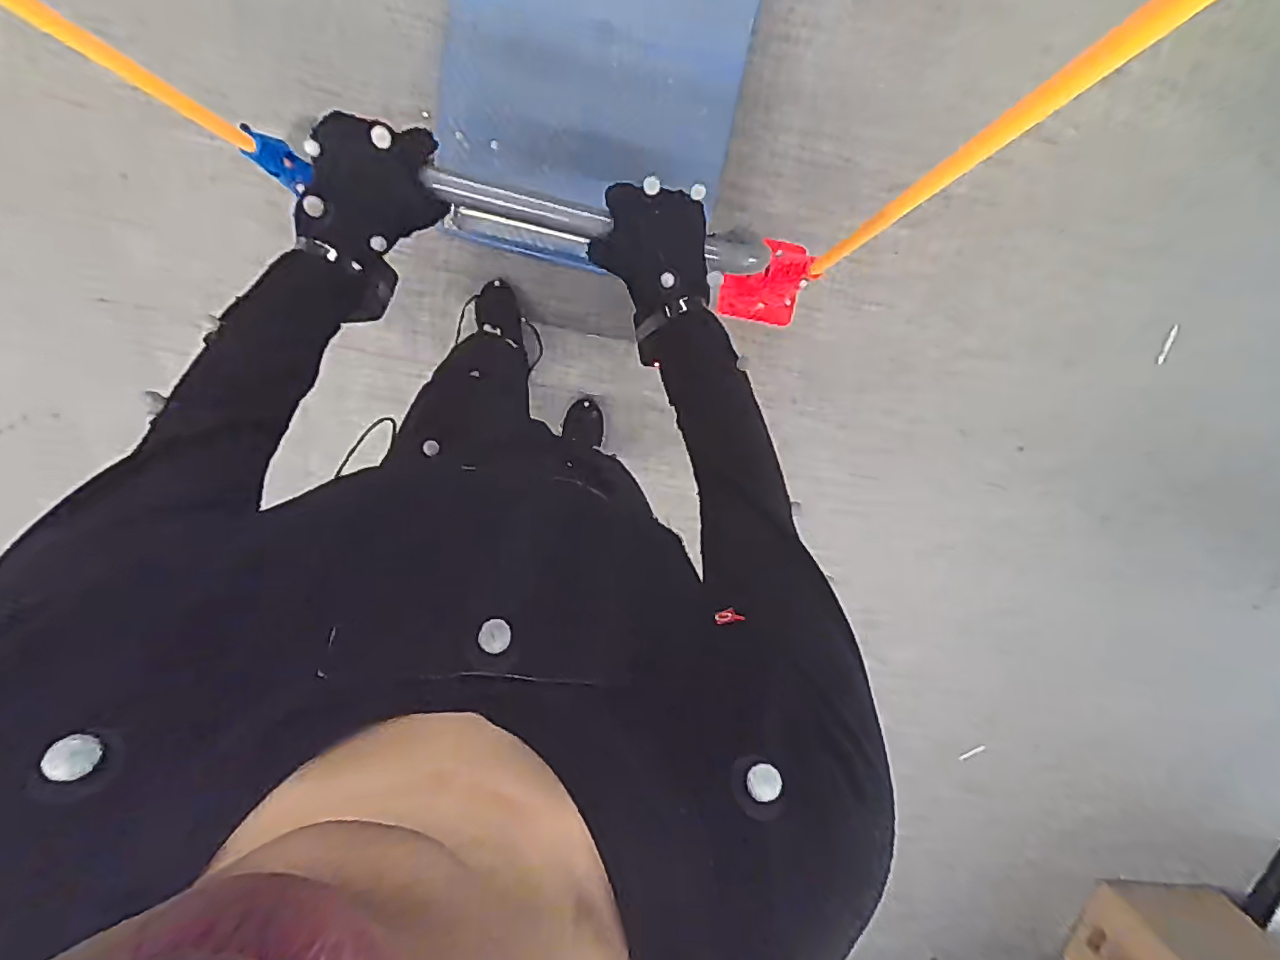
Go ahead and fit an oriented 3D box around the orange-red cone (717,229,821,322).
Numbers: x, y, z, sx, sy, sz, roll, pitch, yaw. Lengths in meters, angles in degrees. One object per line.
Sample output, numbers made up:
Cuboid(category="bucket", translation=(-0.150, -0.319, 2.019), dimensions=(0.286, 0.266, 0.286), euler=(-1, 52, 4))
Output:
Cuboid(category="orange-red cone", translation=(0.320, -0.472, 1.214), dimensions=(0.199, 0.360, 0.198), euler=(11, 105, -6))
